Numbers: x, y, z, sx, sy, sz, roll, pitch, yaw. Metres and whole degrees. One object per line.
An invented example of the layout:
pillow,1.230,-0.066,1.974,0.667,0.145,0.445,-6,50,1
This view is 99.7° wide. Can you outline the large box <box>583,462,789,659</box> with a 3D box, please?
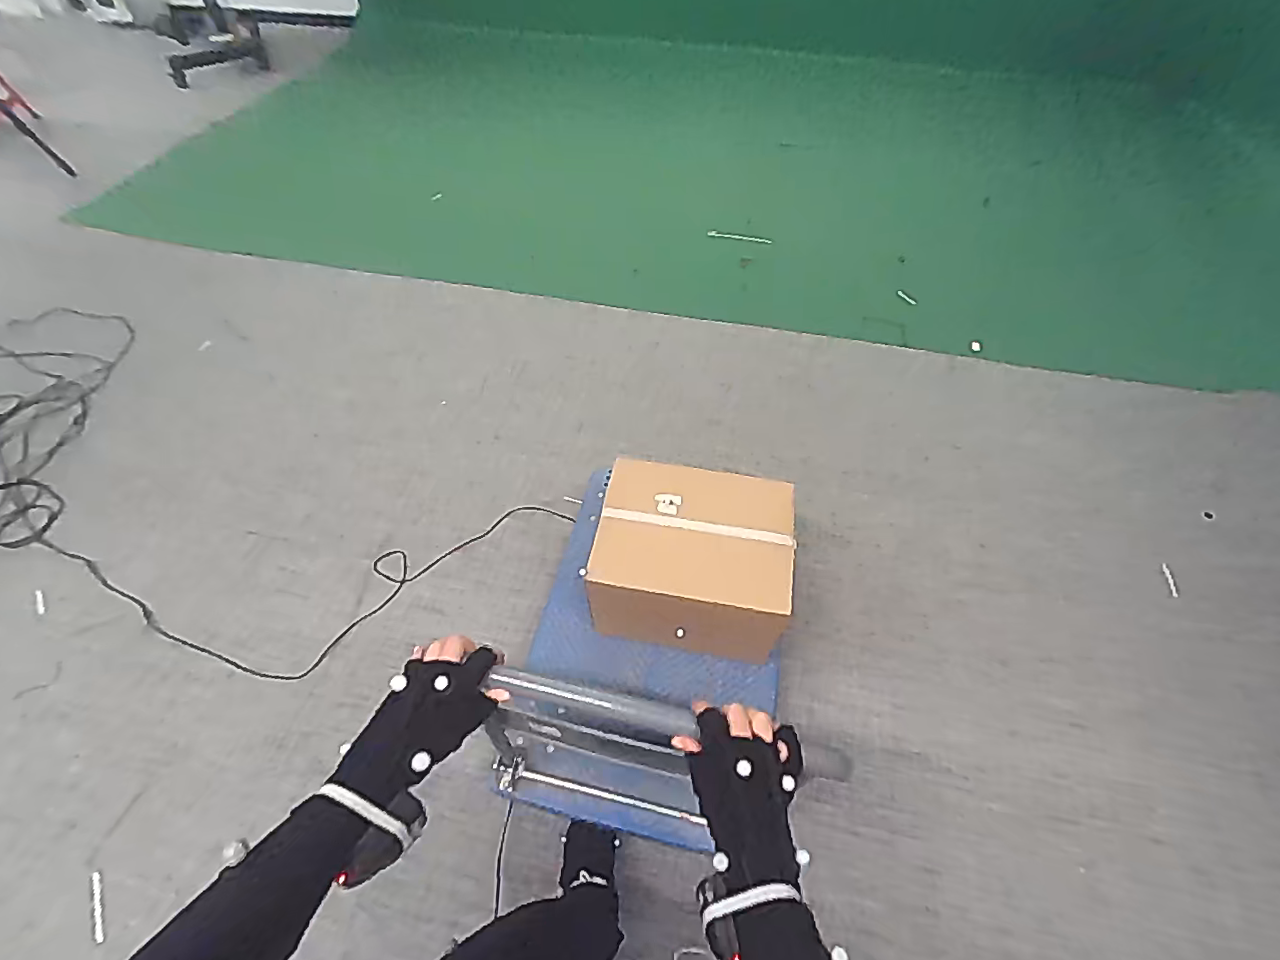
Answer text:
large box,0.114,0.191,1.249,0.408,0.320,0.320,8,54,7
